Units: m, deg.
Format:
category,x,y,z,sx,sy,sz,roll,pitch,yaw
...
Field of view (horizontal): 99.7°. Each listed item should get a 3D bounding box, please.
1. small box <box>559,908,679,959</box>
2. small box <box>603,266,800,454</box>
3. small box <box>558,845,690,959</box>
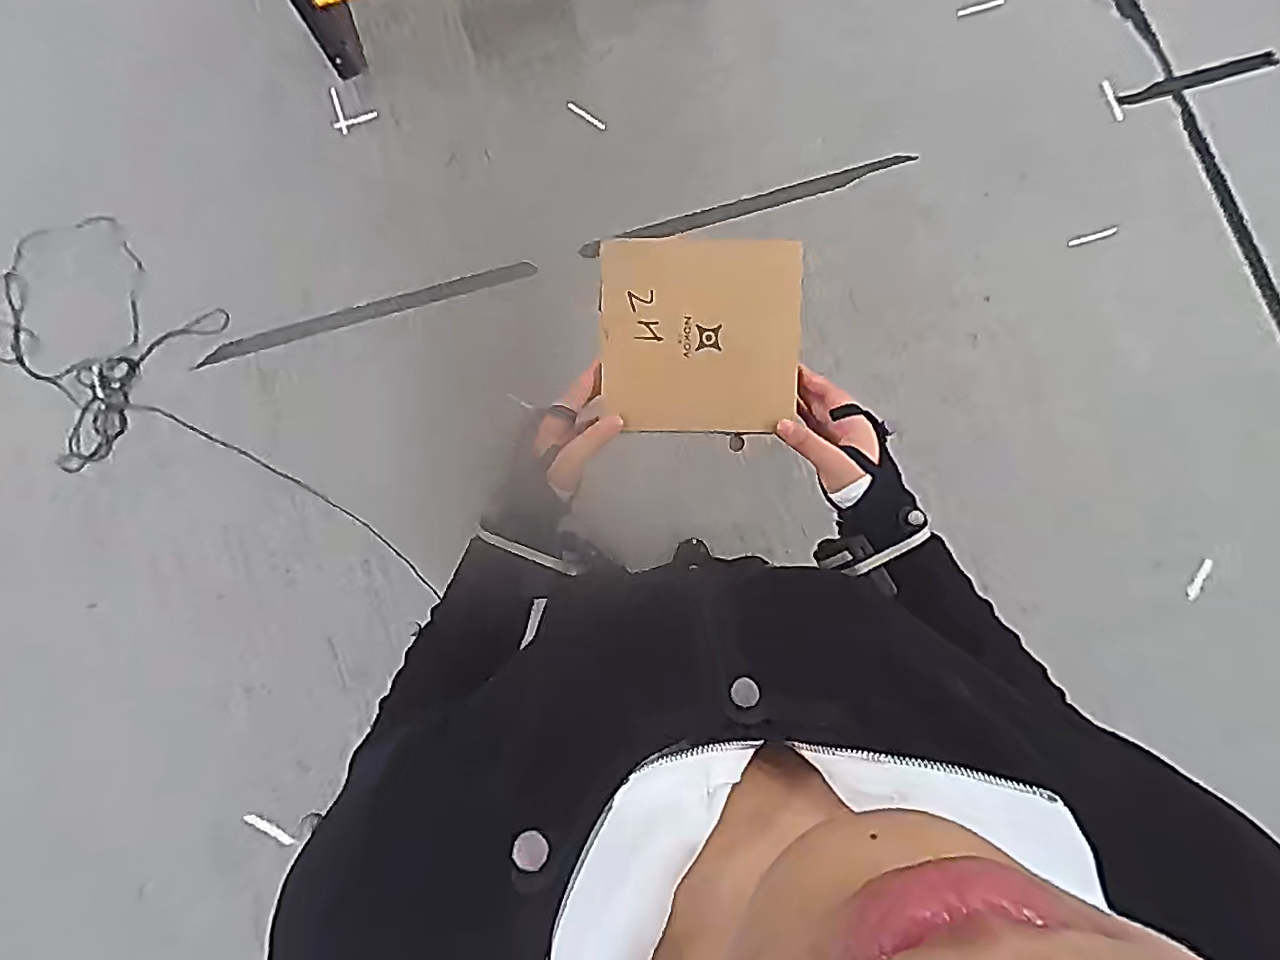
category,x,y,z,sx,sy,sz,roll,pitch,yaw
small box,-0.020,0.746,0.739,0.168,0.176,0.179,-16,83,1
small box,0.055,-0.115,0.568,0.179,0.176,0.168,1,95,1
small box,-0.018,0.757,0.902,0.179,0.176,0.168,-18,83,0
